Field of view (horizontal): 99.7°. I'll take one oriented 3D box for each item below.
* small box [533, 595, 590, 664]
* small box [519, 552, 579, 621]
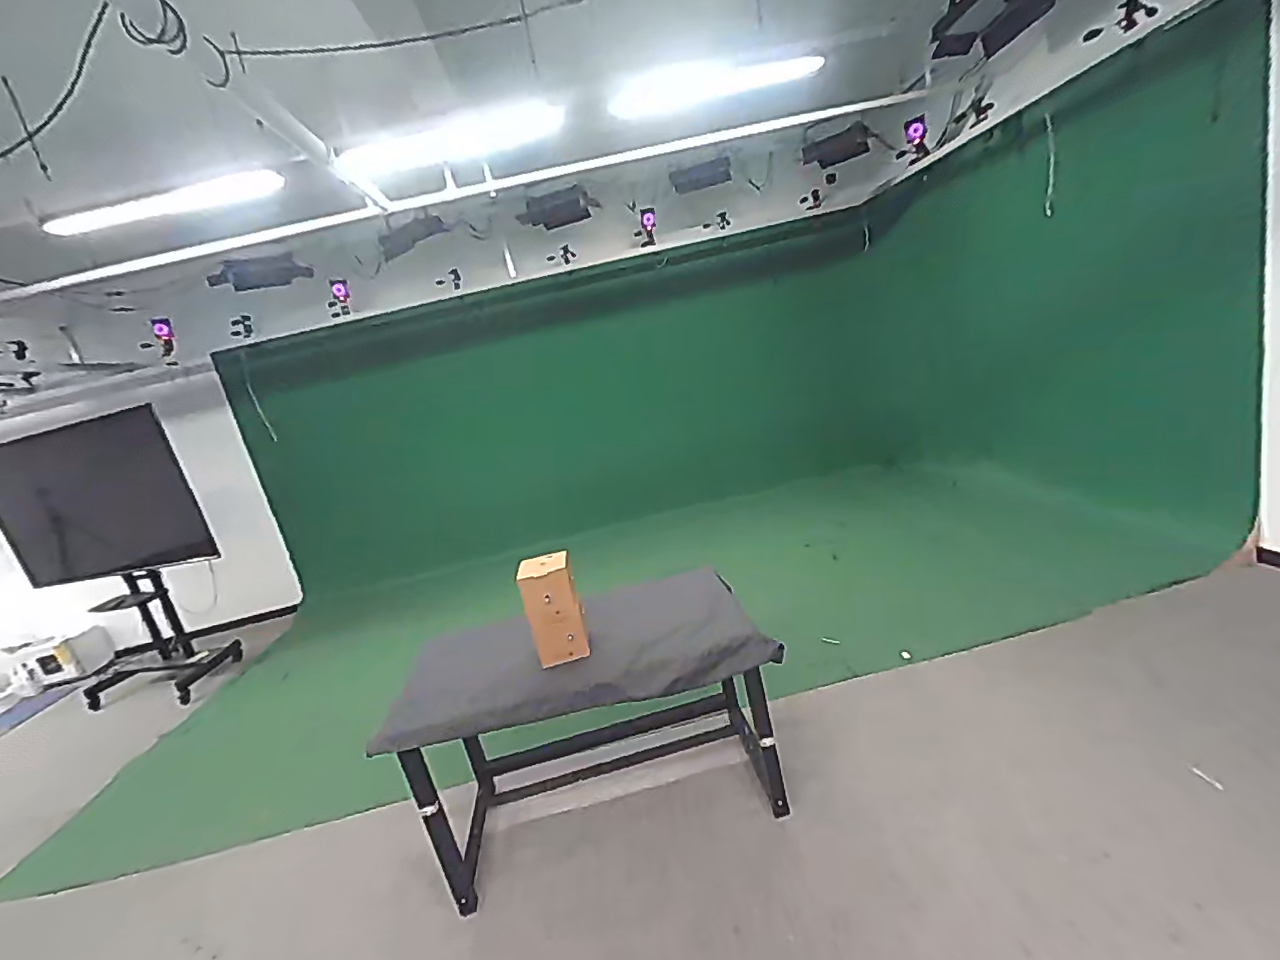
[{"bbox_3d":[-0.272,0.529,1.899,0.168,0.176,0.179,-13,11,-5],"label":"small box"},{"bbox_3d":[-0.309,0.372,1.868,0.168,0.176,0.179,-12,14,-4],"label":"small box"}]
